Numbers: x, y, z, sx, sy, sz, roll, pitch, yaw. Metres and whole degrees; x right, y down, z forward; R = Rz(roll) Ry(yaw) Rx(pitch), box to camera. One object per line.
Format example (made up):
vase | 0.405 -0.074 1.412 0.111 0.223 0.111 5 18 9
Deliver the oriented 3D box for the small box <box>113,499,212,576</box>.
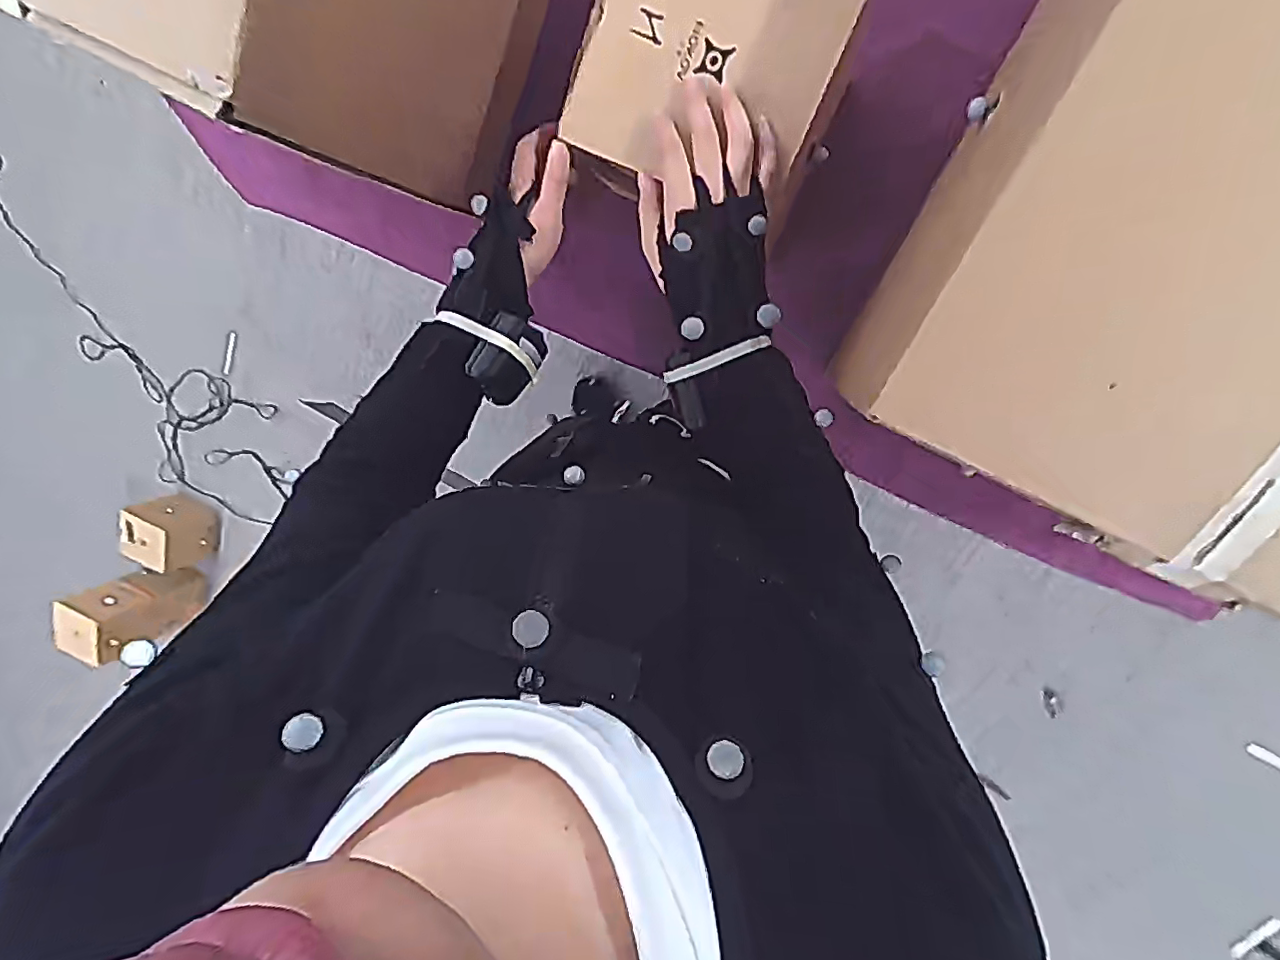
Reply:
small box | -1.540 0.176 1.747 0.179 0.176 0.168 24 110 7

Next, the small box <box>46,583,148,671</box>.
small box | -1.683 0.449 1.684 0.168 0.176 0.179 21 109 9

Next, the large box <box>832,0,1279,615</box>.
large box | 0.364 -0.161 0.329 0.320 0.320 0.408 27 107 6
